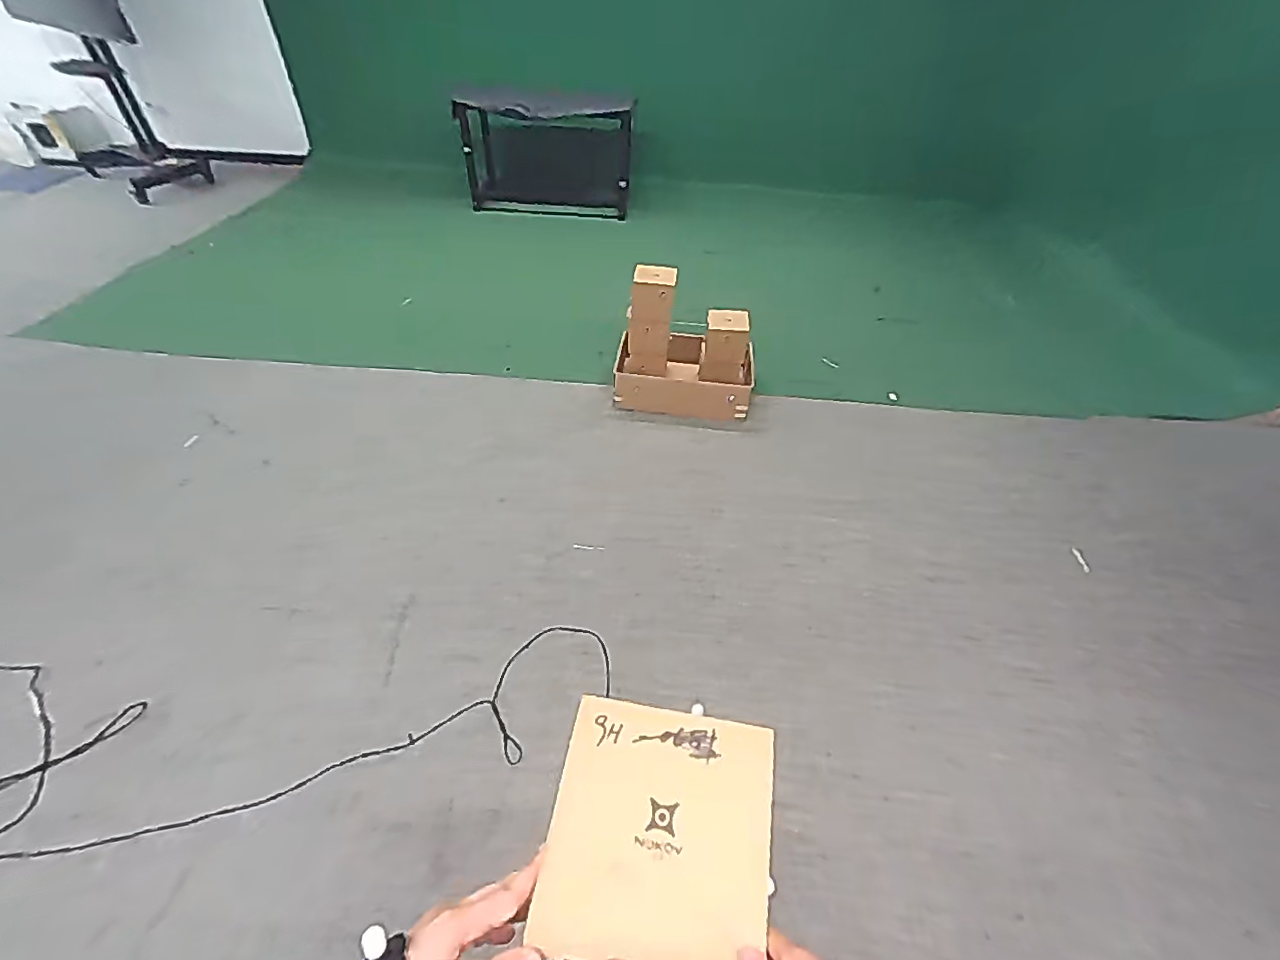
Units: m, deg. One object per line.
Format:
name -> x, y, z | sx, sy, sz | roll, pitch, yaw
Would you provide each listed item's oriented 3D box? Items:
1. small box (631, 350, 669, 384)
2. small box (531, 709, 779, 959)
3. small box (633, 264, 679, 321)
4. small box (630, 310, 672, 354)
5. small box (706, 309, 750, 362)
small box -> 0.049, -0.567, 2.527 | 0.168, 0.176, 0.179 | 6, 46, 2
small box -> 0.023, 0.324, 0.472 | 0.168, 0.176, 0.179 | 7, 55, 8
small box -> 0.067, -0.790, 2.285 | 0.179, 0.176, 0.168 | 6, 45, 3
small box -> 0.050, -0.676, 2.404 | 0.179, 0.176, 0.168 | 7, 46, 2
small box -> 0.384, -0.633, 2.376 | 0.179, 0.176, 0.168 | 4, 47, 3
